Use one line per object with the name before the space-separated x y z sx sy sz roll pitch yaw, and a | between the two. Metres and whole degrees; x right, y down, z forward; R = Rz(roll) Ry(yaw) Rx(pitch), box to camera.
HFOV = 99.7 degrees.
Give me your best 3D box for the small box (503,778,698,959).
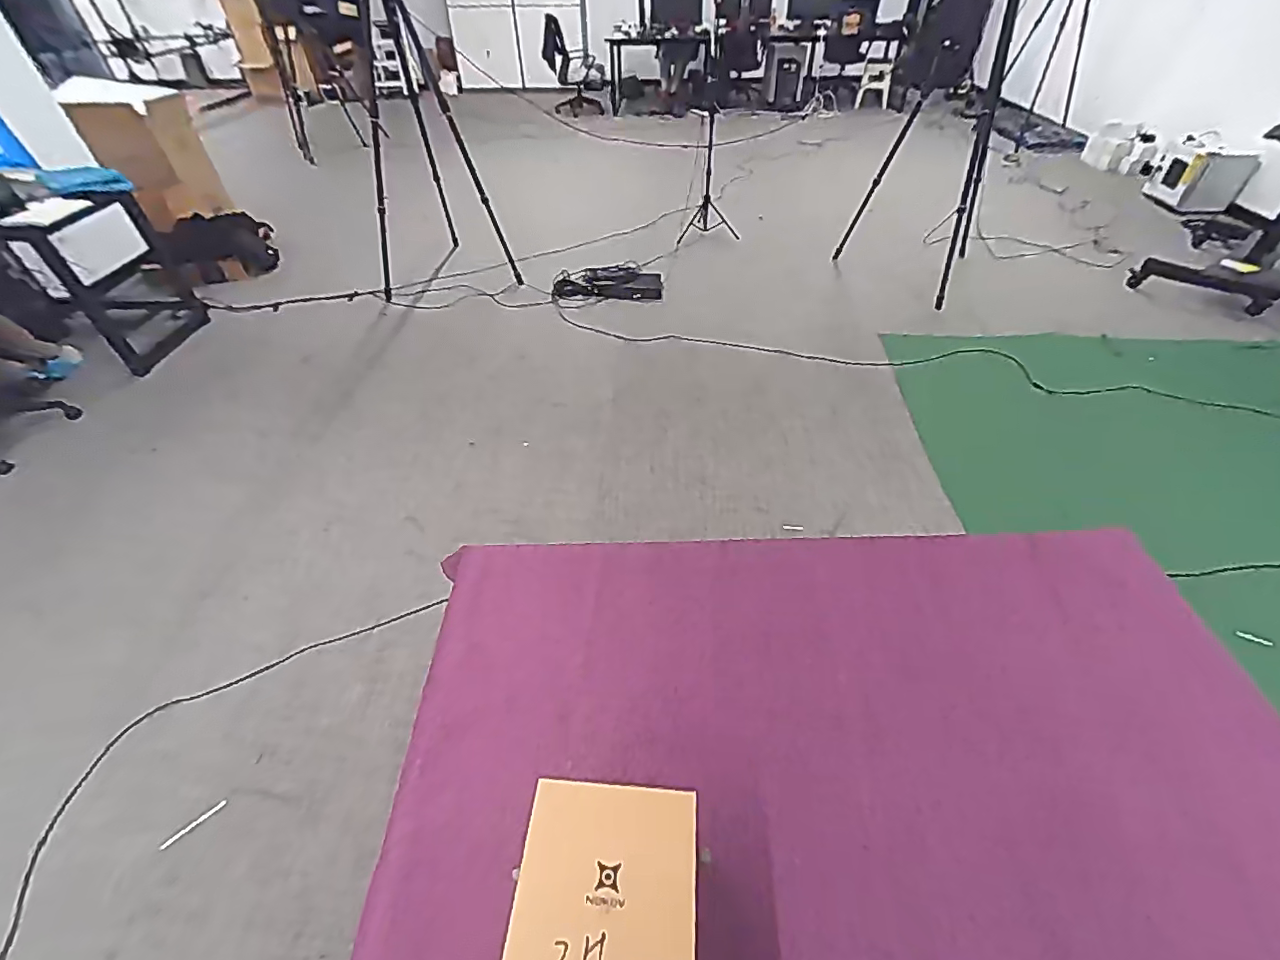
small box | -0.030 0.432 0.549 0.168 0.176 0.179 2 44 4
